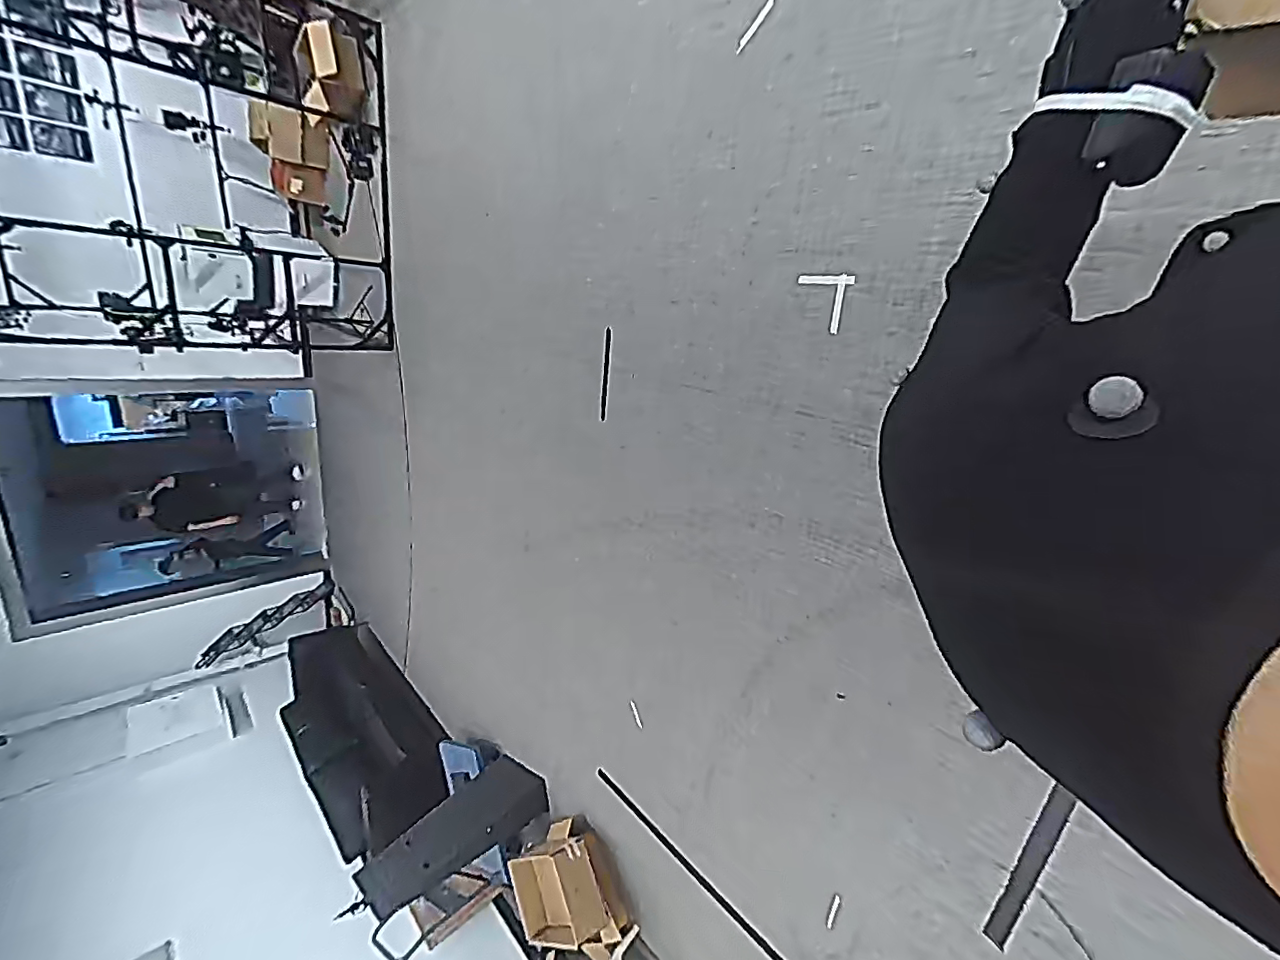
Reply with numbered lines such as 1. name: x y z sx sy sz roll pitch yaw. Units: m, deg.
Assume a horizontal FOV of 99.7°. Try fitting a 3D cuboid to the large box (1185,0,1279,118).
1. large box: 0.604 -0.415 0.268 0.408 0.320 0.320 23 122 41
